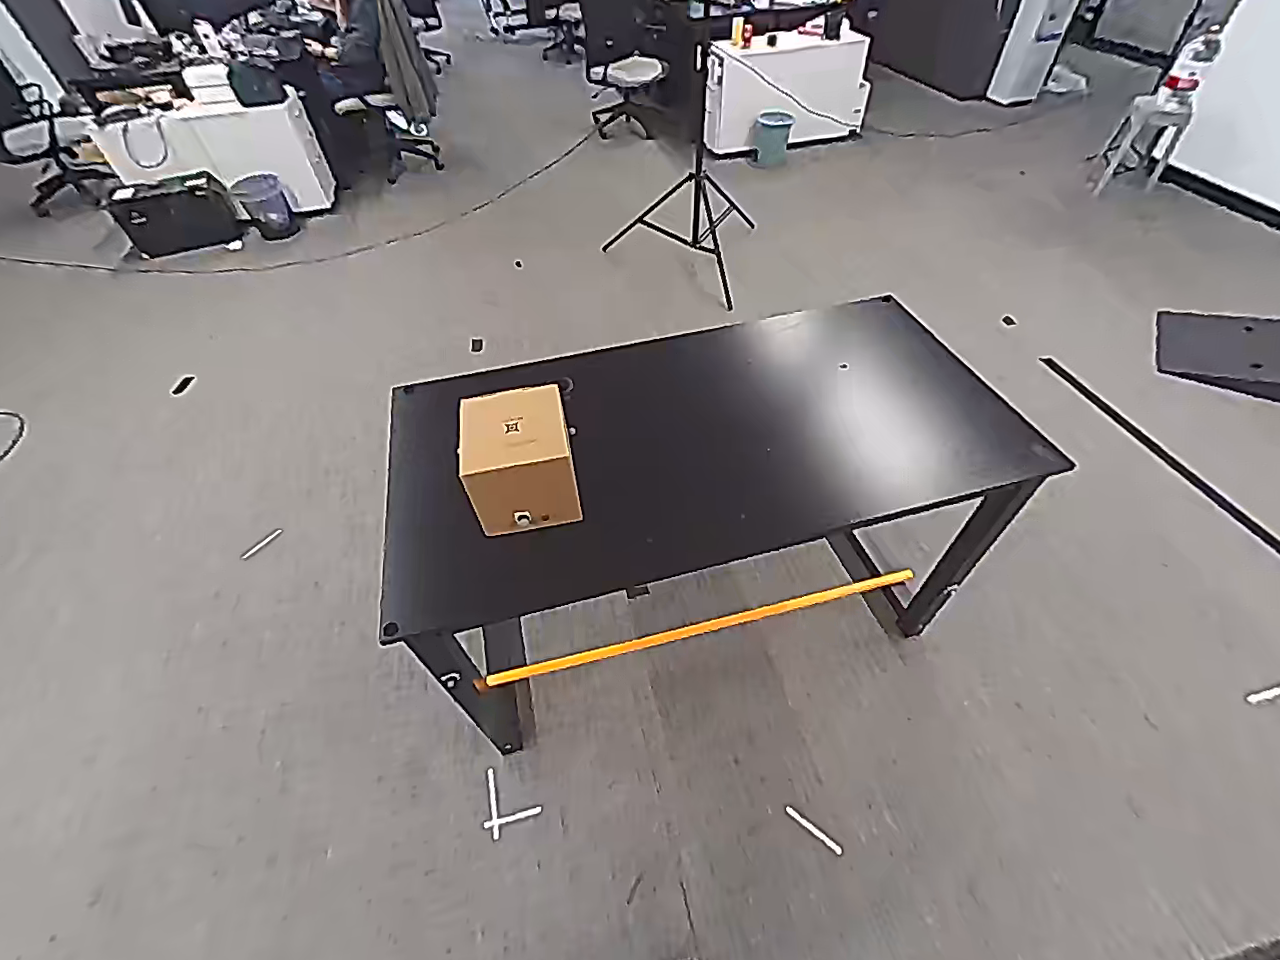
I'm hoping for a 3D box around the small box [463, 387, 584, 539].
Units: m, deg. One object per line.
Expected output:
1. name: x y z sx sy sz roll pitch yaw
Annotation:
1. small box: -0.194 -0.027 0.915 0.168 0.176 0.179 -12 51 -6
